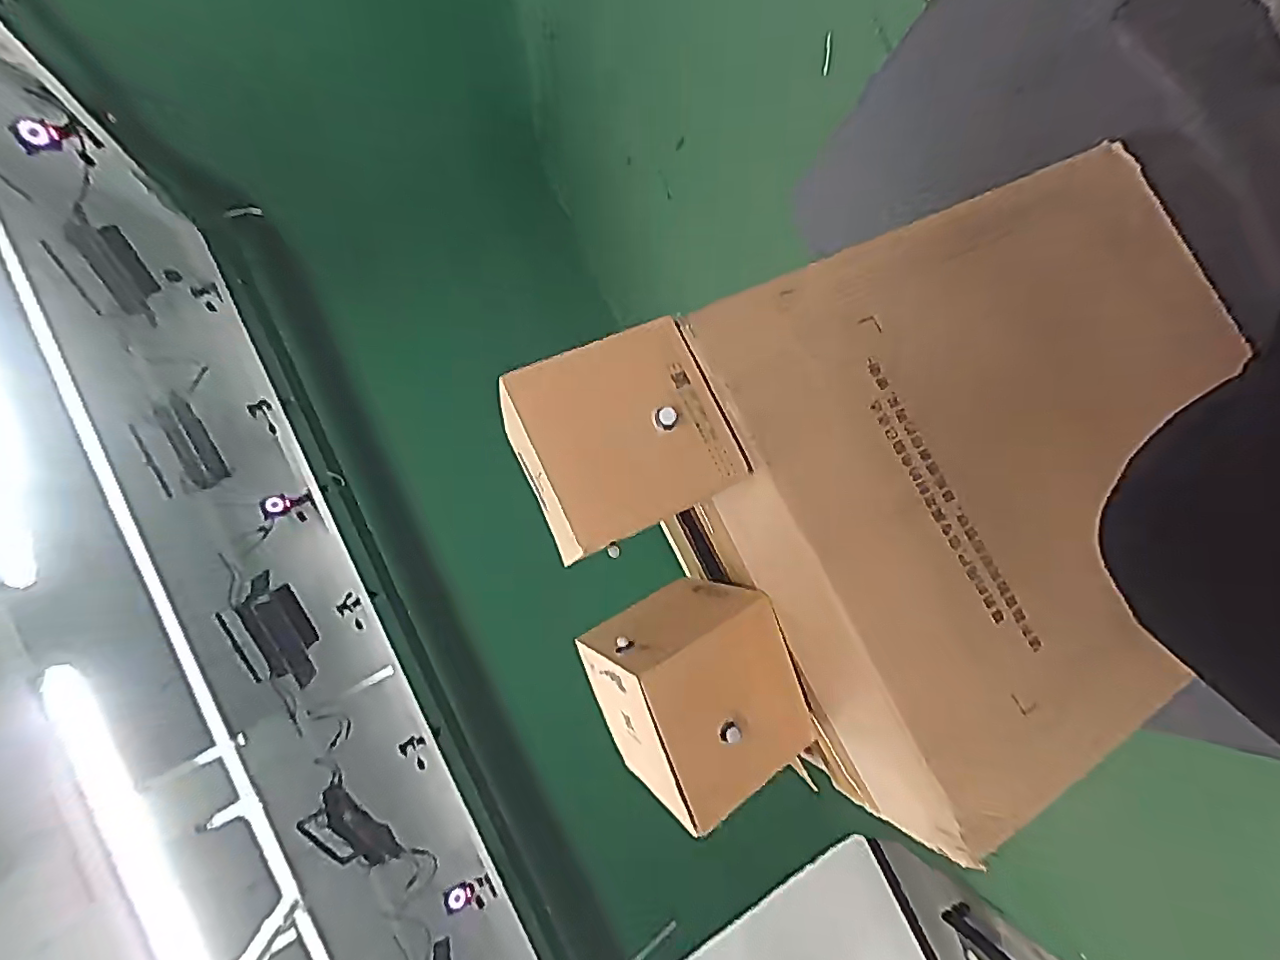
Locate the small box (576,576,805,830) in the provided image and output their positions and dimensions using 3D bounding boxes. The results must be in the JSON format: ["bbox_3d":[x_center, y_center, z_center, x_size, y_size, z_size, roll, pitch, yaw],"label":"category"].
[{"bbox_3d":[0.057,0.232,0.613,0.168,0.176,0.179,-7,106,62],"label":"small box"}]

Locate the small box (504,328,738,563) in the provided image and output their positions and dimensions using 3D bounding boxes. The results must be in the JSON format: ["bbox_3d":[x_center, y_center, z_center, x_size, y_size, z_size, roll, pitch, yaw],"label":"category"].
[{"bbox_3d":[-0.026,-0.027,0.554,0.168,0.176,0.179,64,164,5],"label":"small box"}]
